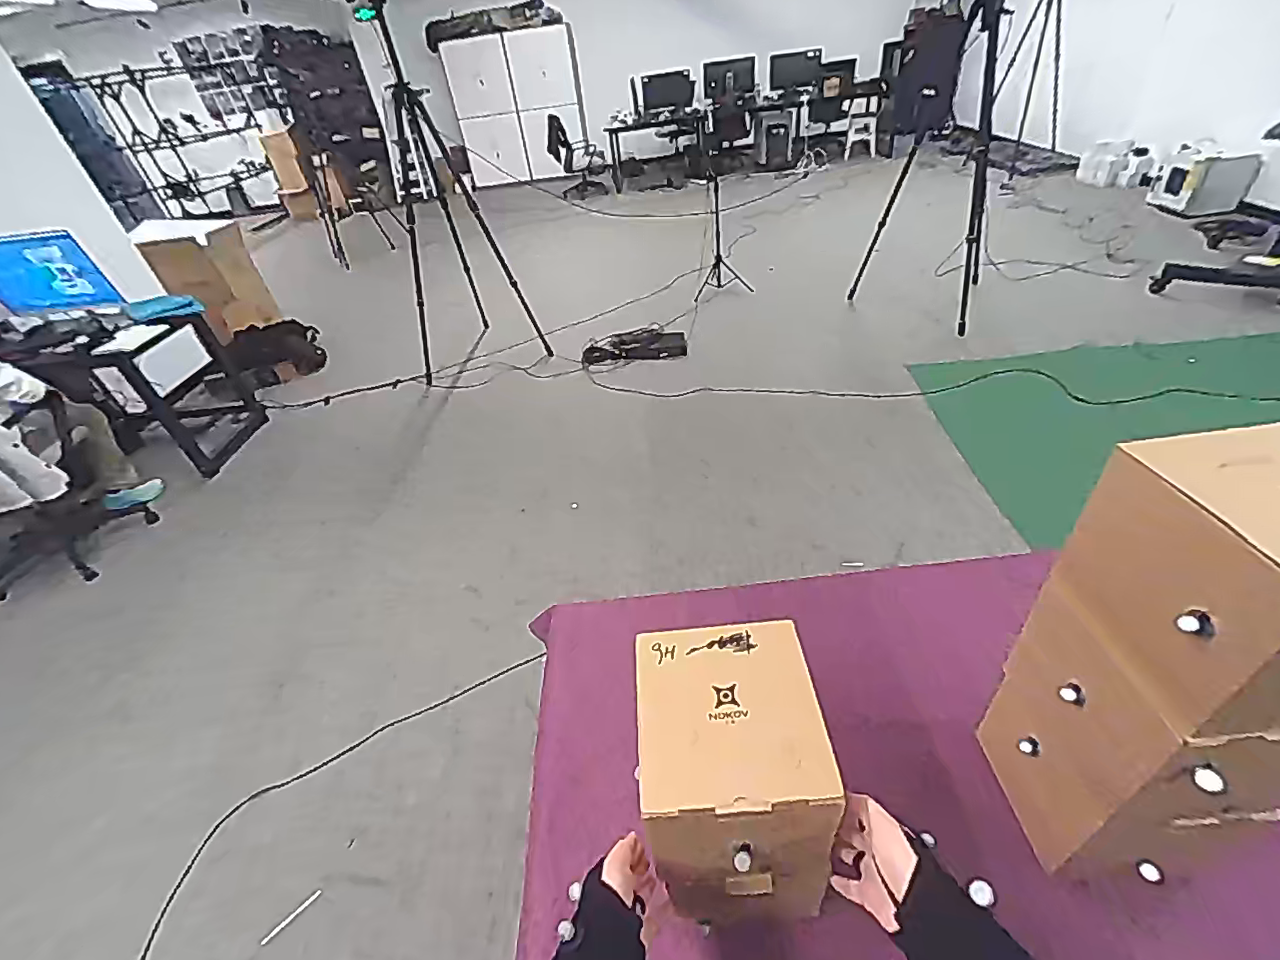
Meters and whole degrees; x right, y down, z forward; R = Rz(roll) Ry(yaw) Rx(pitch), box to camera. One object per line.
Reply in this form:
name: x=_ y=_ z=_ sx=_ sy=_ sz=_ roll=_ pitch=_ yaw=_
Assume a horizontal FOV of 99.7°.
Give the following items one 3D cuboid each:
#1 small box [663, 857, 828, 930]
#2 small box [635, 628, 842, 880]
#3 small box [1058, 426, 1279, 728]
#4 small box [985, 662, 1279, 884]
small box: x=0.112 y=0.404 z=0.641 sx=0.168 sy=0.176 sz=0.179 roll=-8 pitch=37 yaw=2
small box: x=0.088 y=0.276 z=0.541 sx=0.168 sy=0.176 sz=0.179 roll=-7 pitch=39 yaw=3
small box: x=0.495 y=0.079 z=0.435 sx=0.168 sy=0.176 sz=0.179 roll=-7 pitch=37 yaw=2
small box: x=0.541 y=0.338 z=0.630 sx=0.168 sy=0.176 sz=0.179 roll=-6 pitch=38 yaw=5
